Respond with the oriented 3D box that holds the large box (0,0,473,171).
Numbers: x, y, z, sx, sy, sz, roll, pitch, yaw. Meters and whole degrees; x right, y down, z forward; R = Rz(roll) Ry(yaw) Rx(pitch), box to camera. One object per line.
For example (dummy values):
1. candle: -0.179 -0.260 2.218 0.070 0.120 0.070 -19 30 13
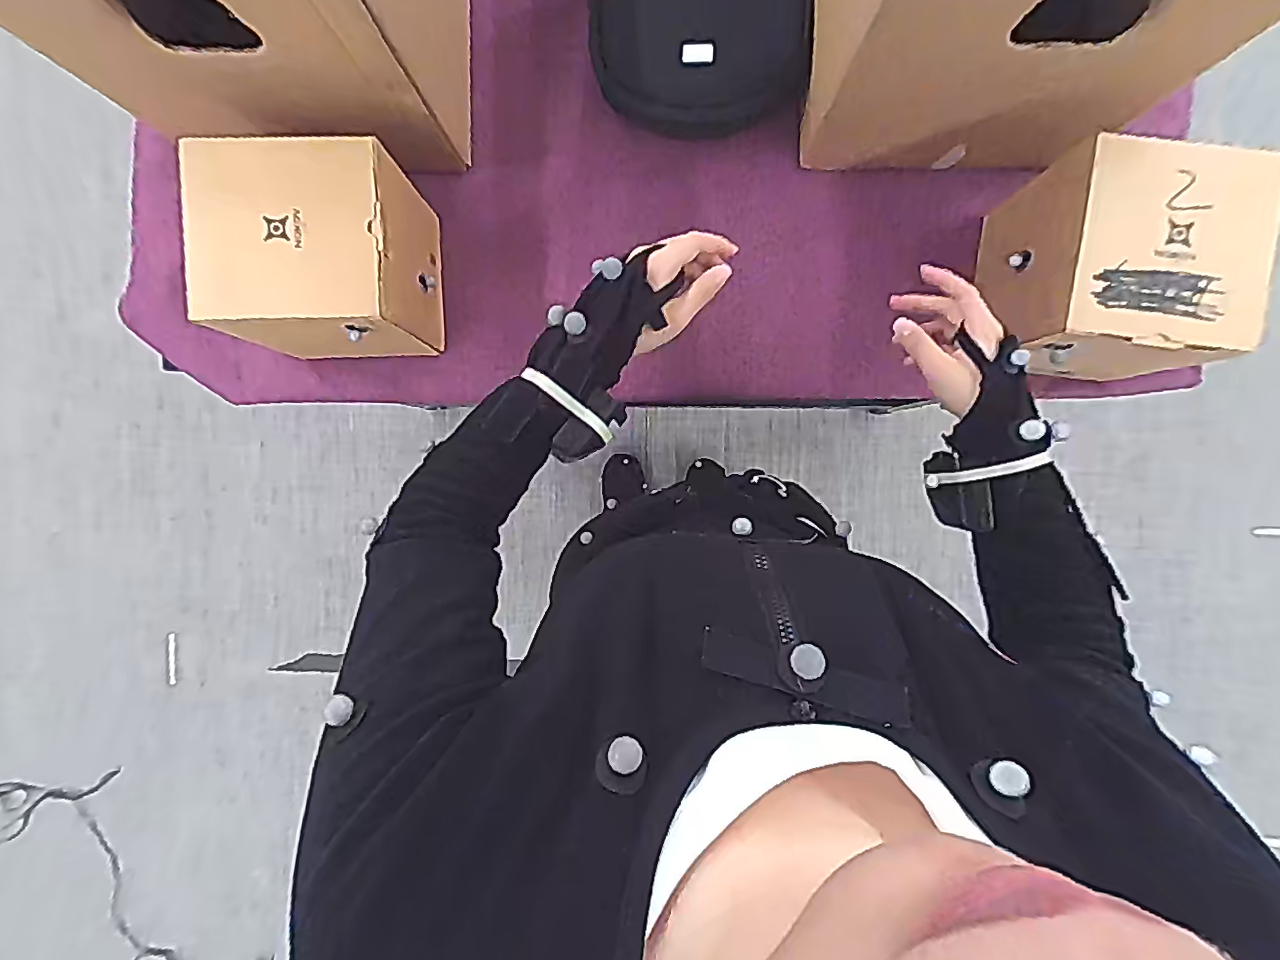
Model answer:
1. large box: -0.354 -0.562 0.495 0.320 0.320 0.408 0 95 0
